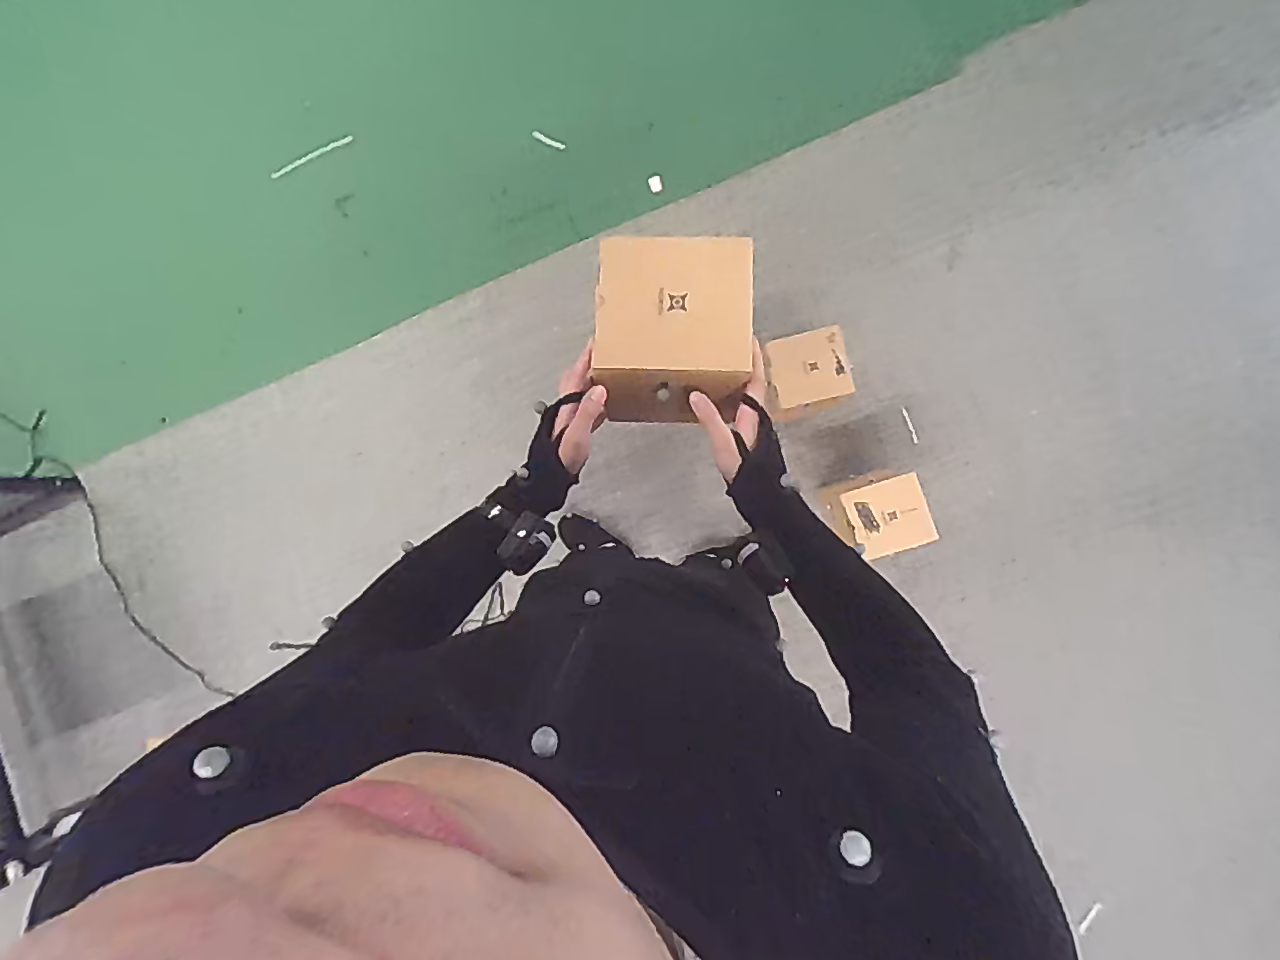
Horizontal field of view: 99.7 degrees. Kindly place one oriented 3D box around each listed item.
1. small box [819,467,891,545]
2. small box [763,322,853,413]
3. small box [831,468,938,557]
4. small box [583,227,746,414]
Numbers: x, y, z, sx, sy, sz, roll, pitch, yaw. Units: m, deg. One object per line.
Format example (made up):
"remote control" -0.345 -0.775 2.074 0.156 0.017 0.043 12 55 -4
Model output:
"small box" 0.604 0.076 1.469 0.168 0.176 0.179 -20 87 8
"small box" 0.406 -0.269 1.339 0.179 0.176 0.168 -13 89 8
"small box" 0.578 0.078 1.307 0.179 0.176 0.168 -18 87 7
"small box" 0.033 -0.187 0.672 0.179 0.176 0.168 1 77 5
